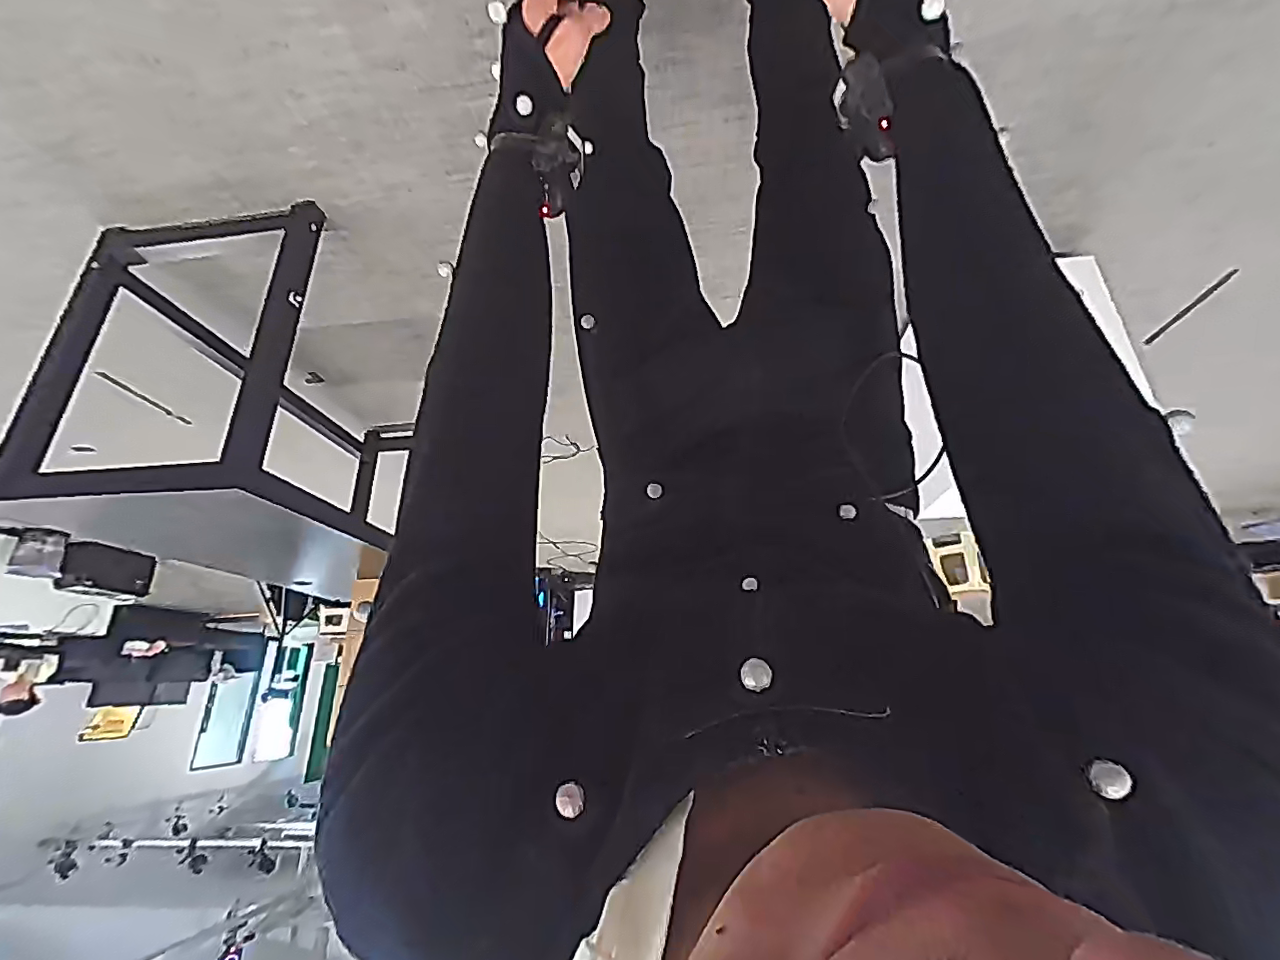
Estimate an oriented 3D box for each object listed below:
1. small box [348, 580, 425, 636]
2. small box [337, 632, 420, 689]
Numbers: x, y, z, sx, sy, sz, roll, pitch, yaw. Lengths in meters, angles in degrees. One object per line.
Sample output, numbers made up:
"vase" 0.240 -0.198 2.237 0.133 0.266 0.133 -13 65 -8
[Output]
"small box" -0.837 0.433 1.809 0.179 0.176 0.168 -4 157 7
"small box" -0.836 0.585 1.747 0.179 0.176 0.168 -4 158 6
